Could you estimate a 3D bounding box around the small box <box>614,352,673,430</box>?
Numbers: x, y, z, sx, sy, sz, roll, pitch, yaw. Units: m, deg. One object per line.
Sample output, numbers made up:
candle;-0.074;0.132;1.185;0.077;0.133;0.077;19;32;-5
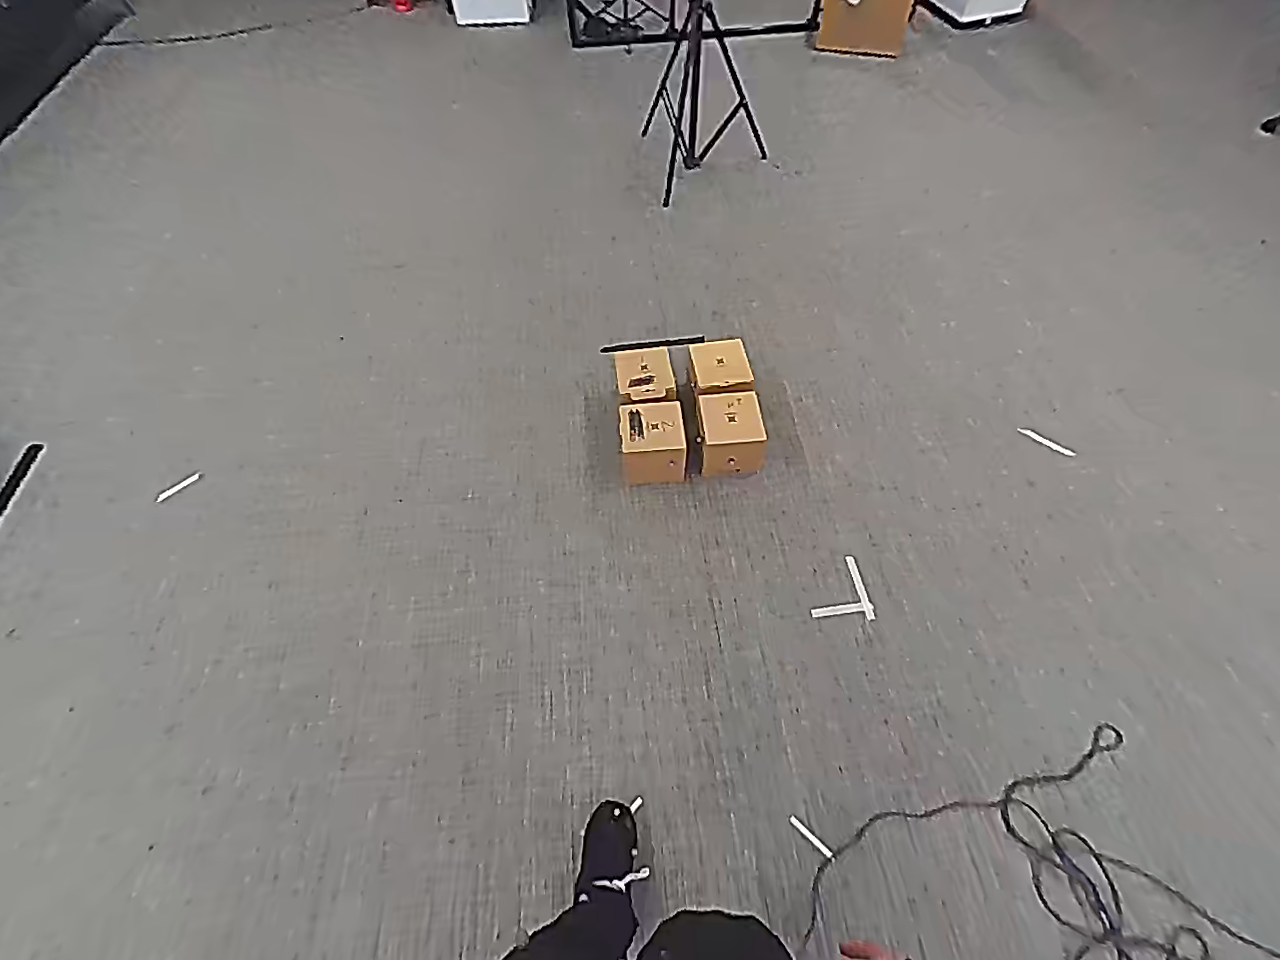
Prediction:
small box;0.011;-0.268;1.667;0.168;0.176;0.179;-6;56;-3
